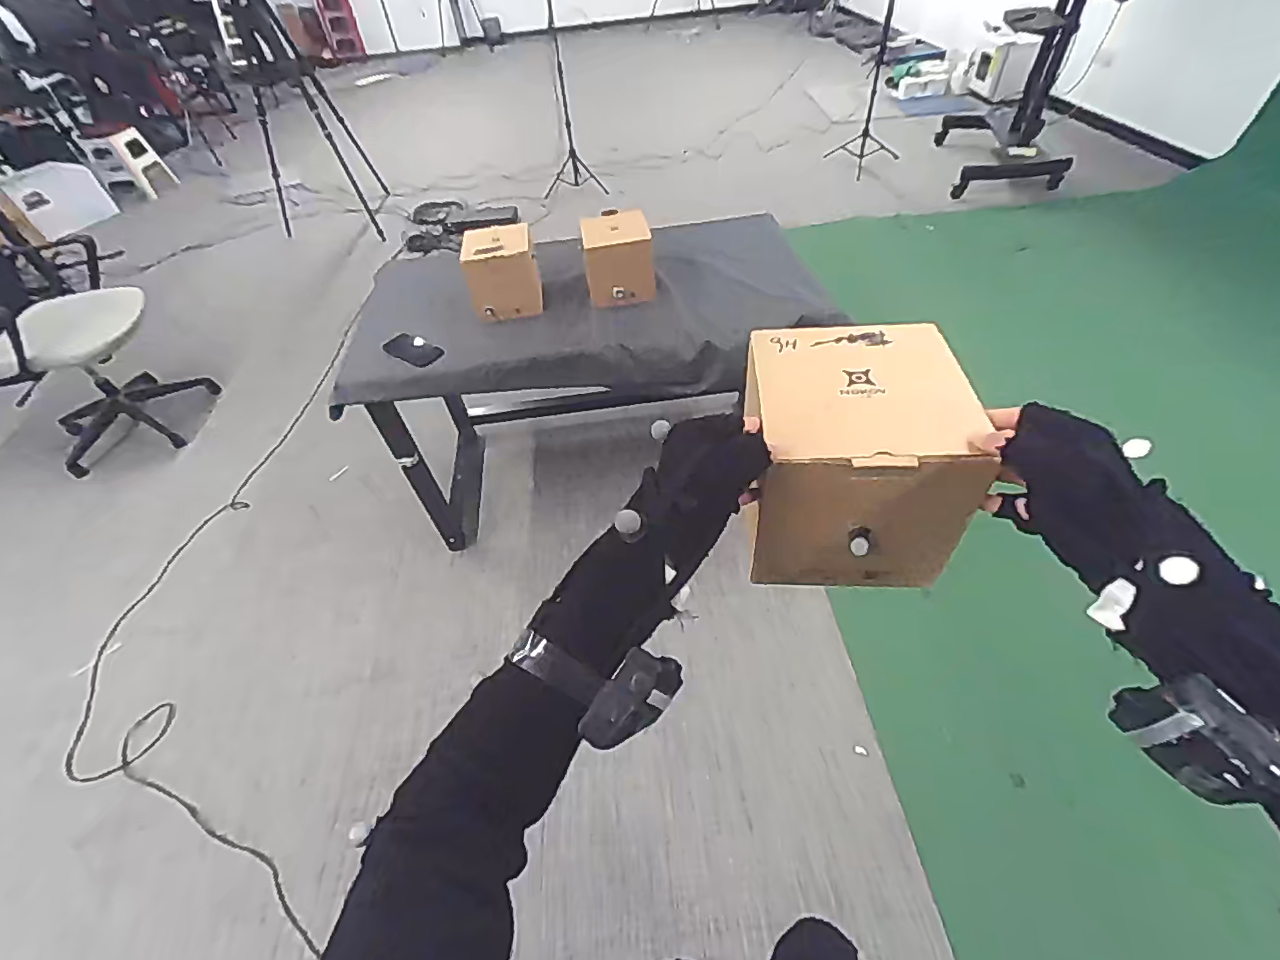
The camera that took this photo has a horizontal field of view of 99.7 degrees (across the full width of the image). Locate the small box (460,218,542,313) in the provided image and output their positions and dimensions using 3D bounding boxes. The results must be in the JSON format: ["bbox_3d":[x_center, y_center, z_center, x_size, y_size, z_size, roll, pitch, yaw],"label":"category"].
[{"bbox_3d":[-0.350,-0.543,1.387,0.168,0.176,0.179,-9,47,-3],"label":"small box"}]

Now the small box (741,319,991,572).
[{"bbox_3d":[0.184,-0.028,0.507,0.168,0.176,0.179,0,48,6],"label":"small box"}]

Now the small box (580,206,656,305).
[{"bbox_3d":[-0.057,-0.577,1.393,0.168,0.176,0.179,-11,49,-2],"label":"small box"}]
